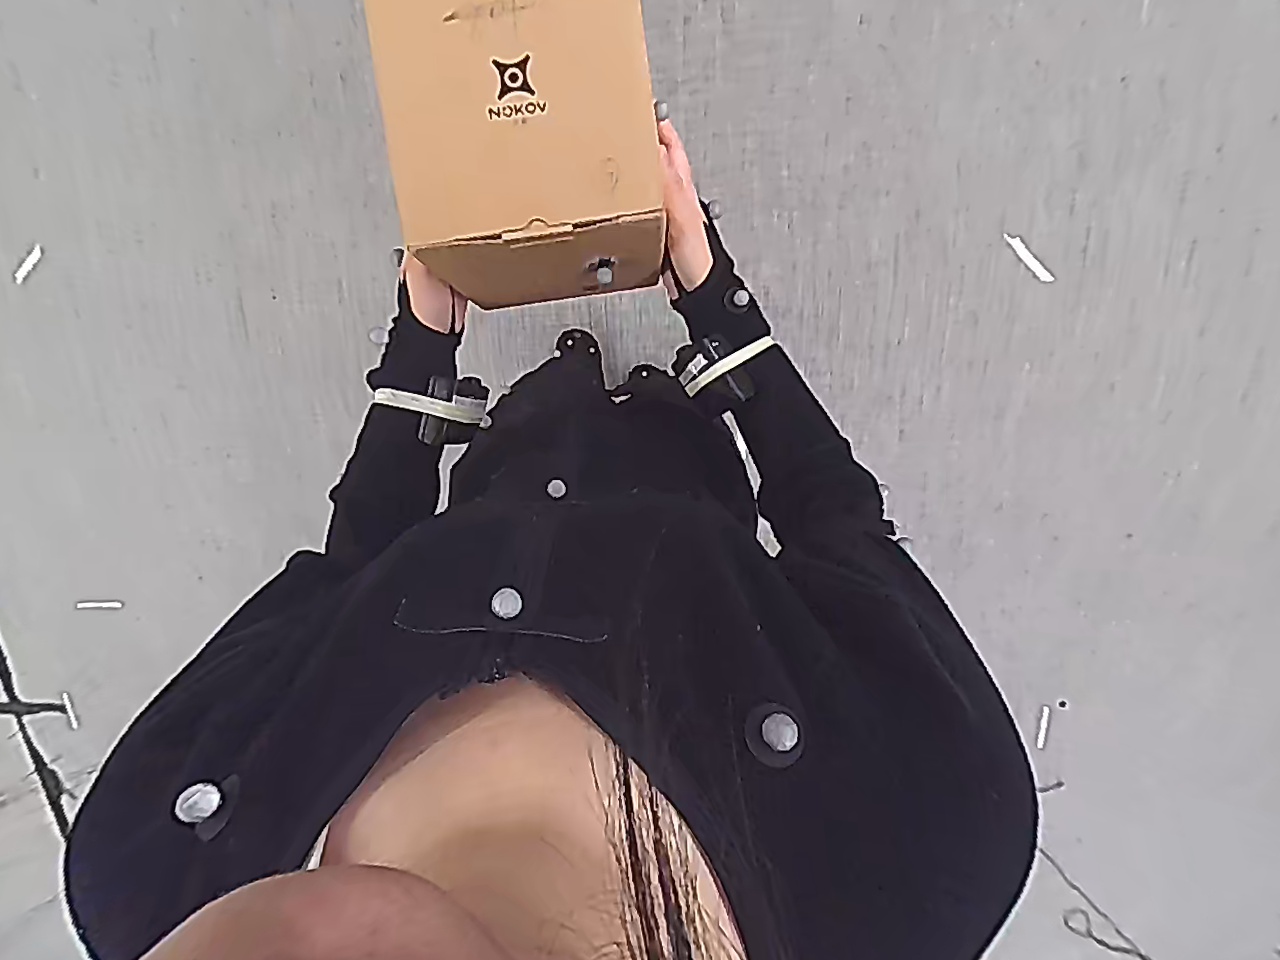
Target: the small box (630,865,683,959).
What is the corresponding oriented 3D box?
[{"bbox_3d":[0.056,1.401,1.756,0.168,0.176,0.179,-1,105,4],"label":"small box"}]
